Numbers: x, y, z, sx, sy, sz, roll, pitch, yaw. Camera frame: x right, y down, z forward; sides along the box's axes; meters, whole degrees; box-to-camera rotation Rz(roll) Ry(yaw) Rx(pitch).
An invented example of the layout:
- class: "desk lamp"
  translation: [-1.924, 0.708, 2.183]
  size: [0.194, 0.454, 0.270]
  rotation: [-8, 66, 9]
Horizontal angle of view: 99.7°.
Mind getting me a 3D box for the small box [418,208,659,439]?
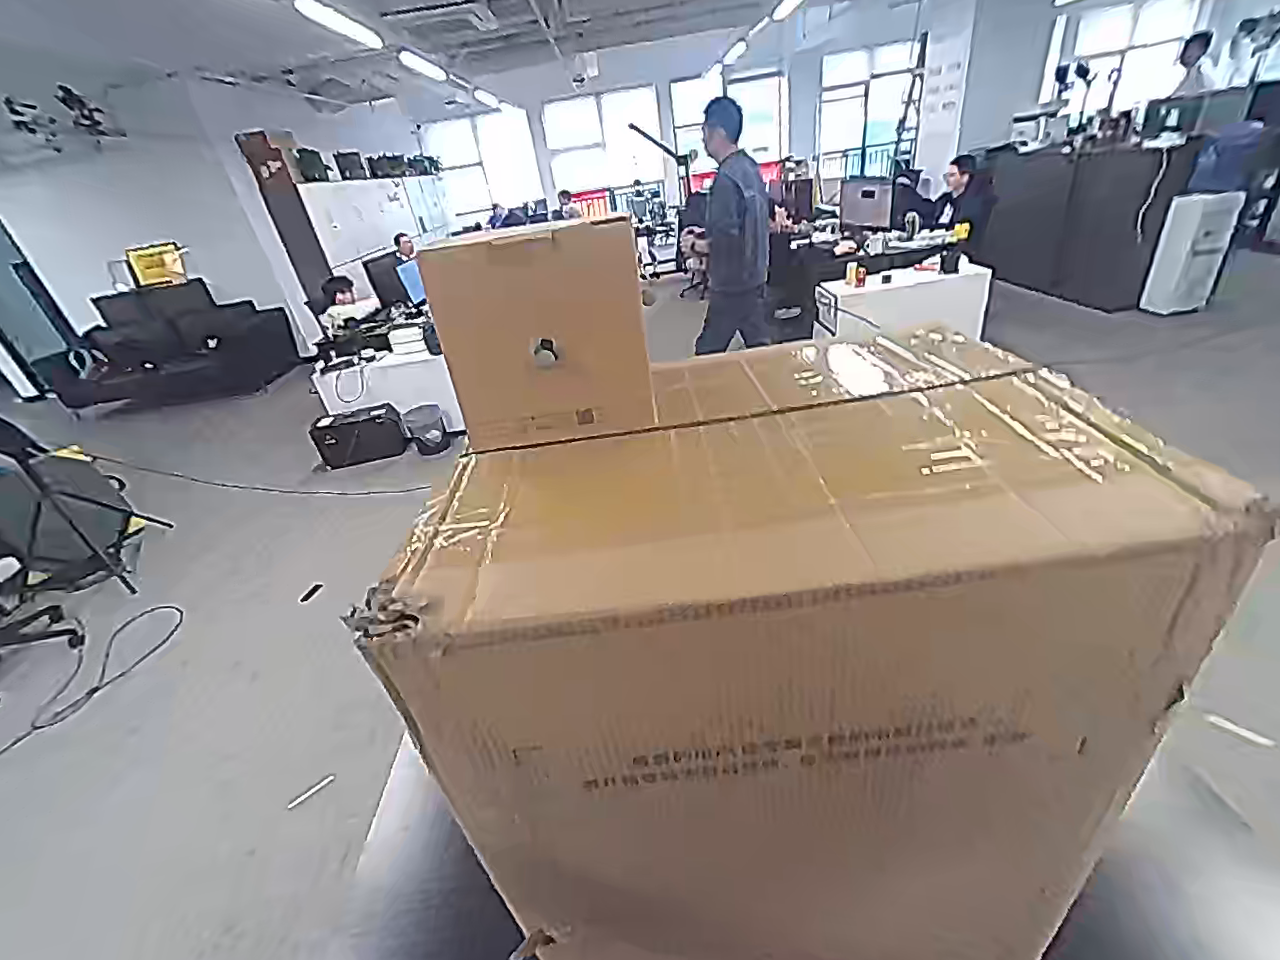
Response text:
- class: "small box"
  translation: [-0.076, -0.144, 0.504]
  size: [0.168, 0.176, 0.179]
  rotation: [-7, 29, 2]
